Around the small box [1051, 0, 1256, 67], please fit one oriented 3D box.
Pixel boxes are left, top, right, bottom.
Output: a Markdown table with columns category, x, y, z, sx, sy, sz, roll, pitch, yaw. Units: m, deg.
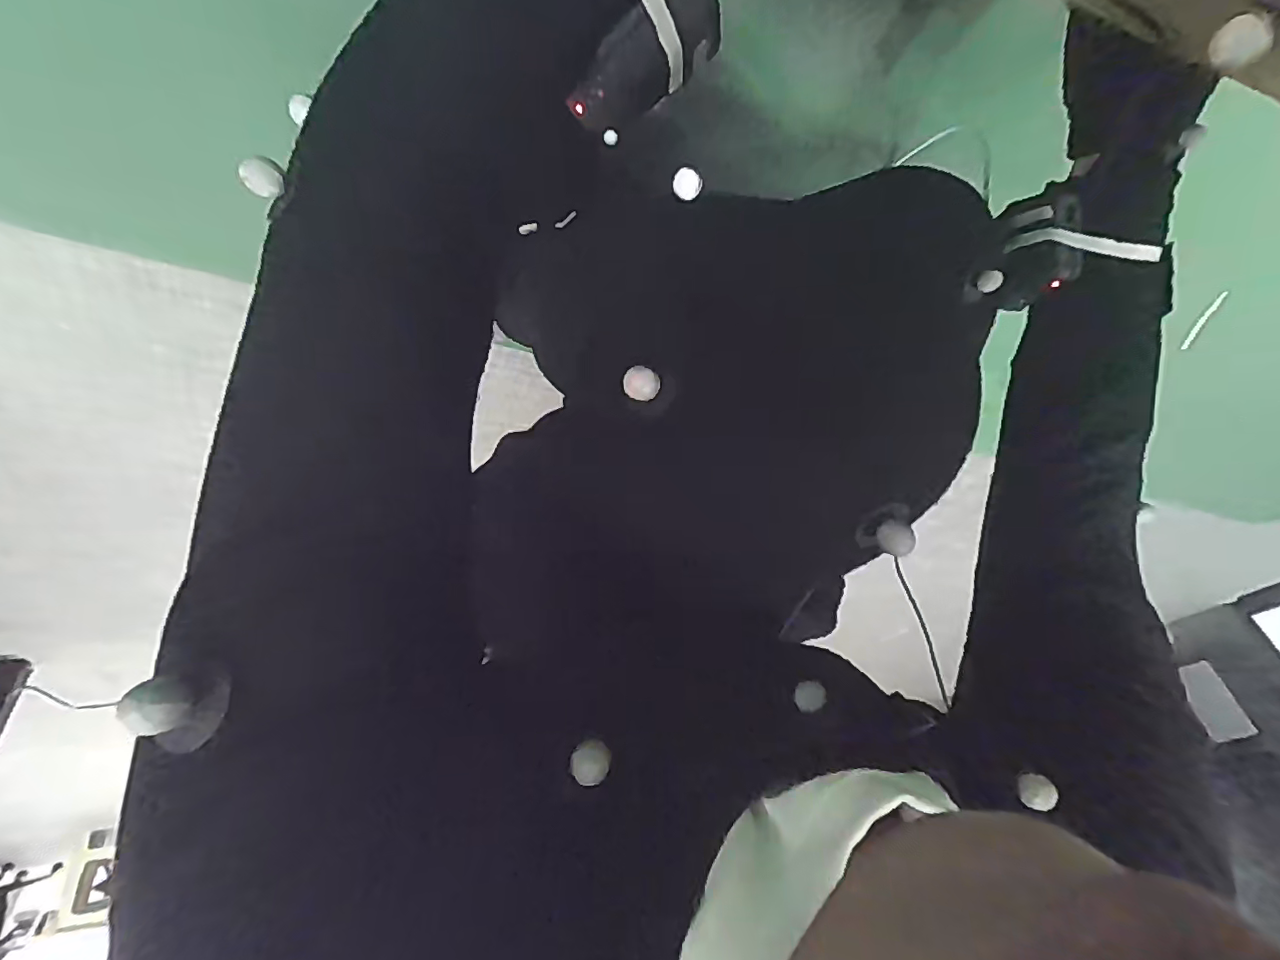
| category | x | y | z | sx | sy | sz | roll | pitch | yaw |
| --- | --- | --- | --- | --- | --- | --- | --- | --- | --- |
| small box | 0.241 | -0.345 | 0.242 | 0.168 | 0.176 | 0.179 | 9 | 140 | -24 |
